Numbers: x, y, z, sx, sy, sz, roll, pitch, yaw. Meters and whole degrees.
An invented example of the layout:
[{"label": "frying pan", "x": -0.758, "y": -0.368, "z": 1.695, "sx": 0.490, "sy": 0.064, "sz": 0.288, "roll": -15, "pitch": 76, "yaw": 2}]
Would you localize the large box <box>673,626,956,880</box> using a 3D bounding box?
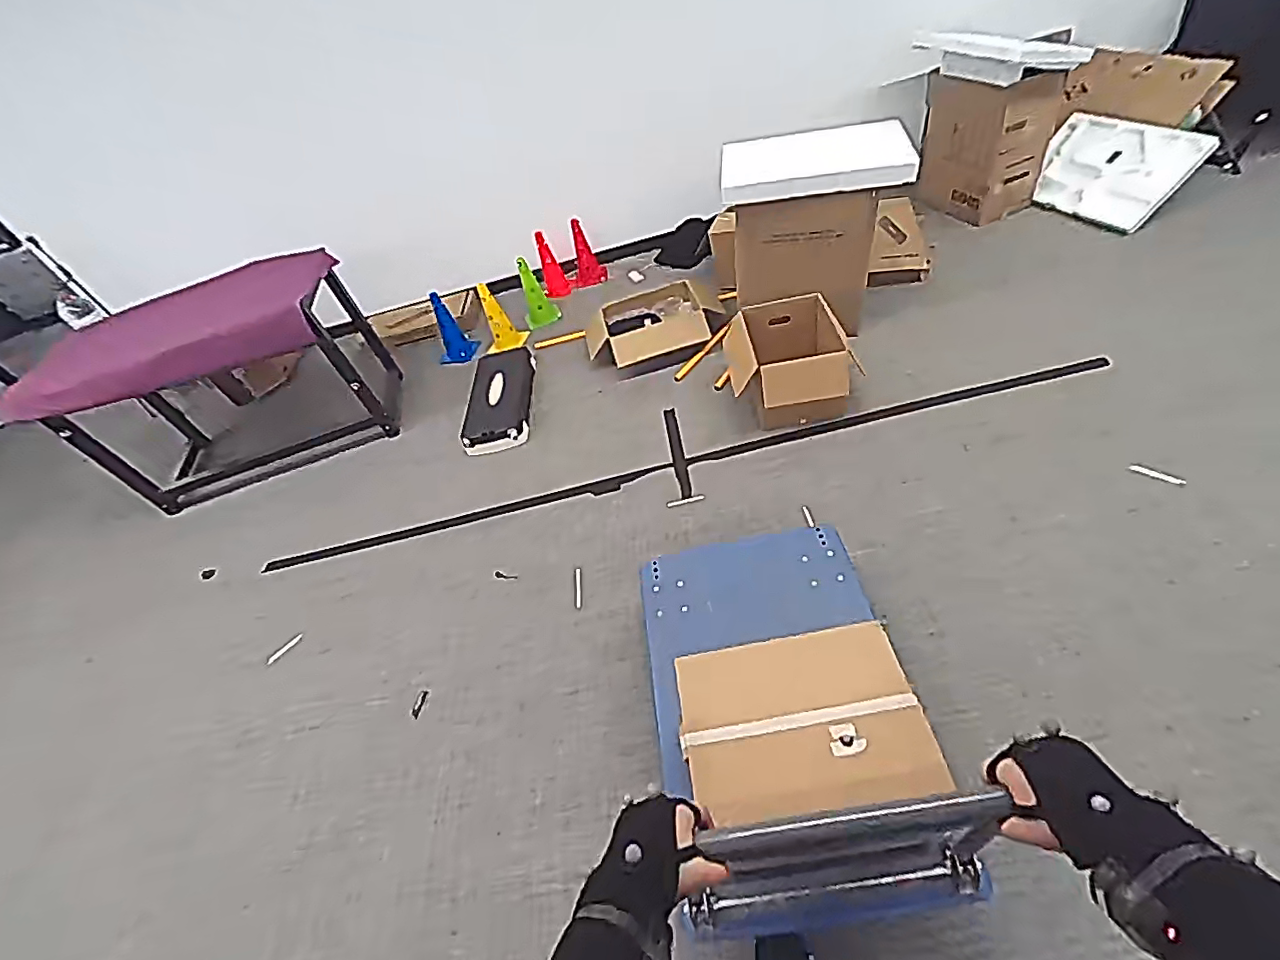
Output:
[{"label": "large box", "x": 0.300, "y": 0.528, "z": 1.037, "sx": 0.408, "sy": 0.320, "sz": 0.320, "roll": -12, "pitch": 46, "yaw": 4}]
